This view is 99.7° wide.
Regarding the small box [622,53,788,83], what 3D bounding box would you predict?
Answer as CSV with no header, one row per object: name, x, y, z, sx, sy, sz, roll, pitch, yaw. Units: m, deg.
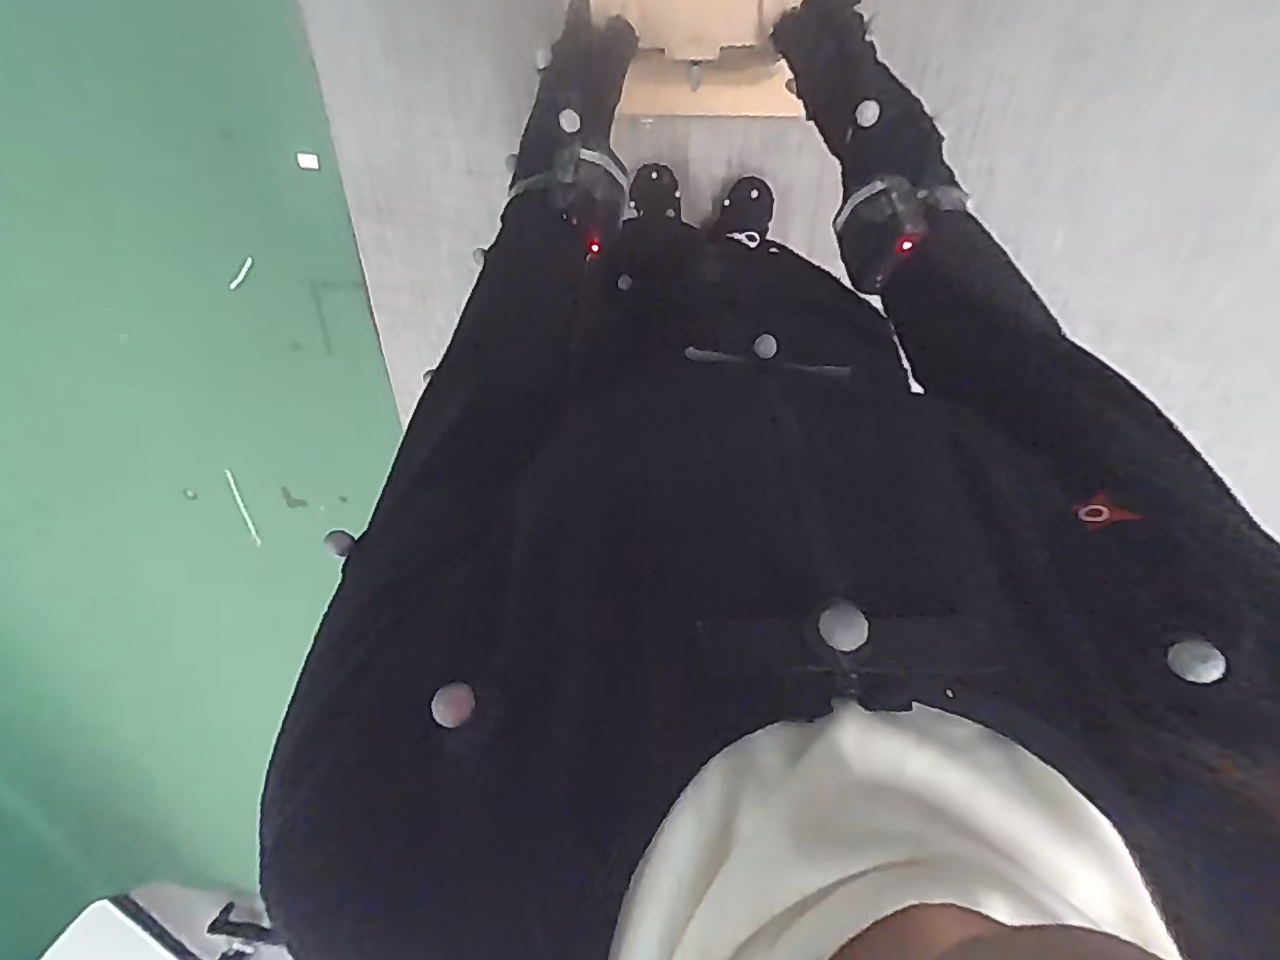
small box,0.078,-0.545,0.594,0.179,0.176,0.168,5,124,8

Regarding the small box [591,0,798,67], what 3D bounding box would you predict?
small box,0.052,-0.461,0.456,0.168,0.176,0.179,3,125,8
